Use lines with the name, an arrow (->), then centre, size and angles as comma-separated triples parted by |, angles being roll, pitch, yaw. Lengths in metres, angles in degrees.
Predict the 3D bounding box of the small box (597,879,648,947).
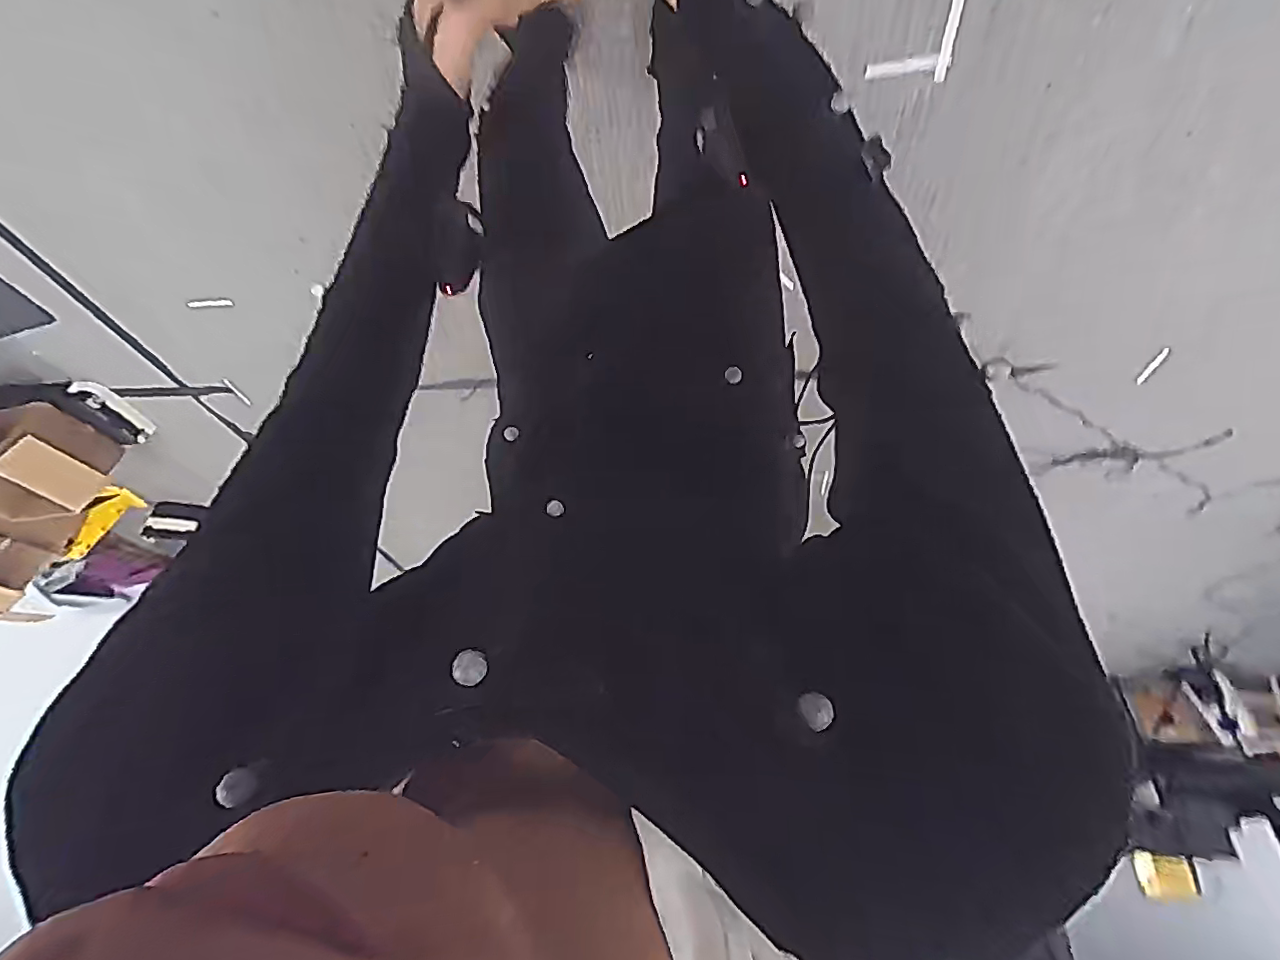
small box -> -0.058, 1.540, 1.936 | 0.168, 0.176, 0.179 | 2, 147, 2
